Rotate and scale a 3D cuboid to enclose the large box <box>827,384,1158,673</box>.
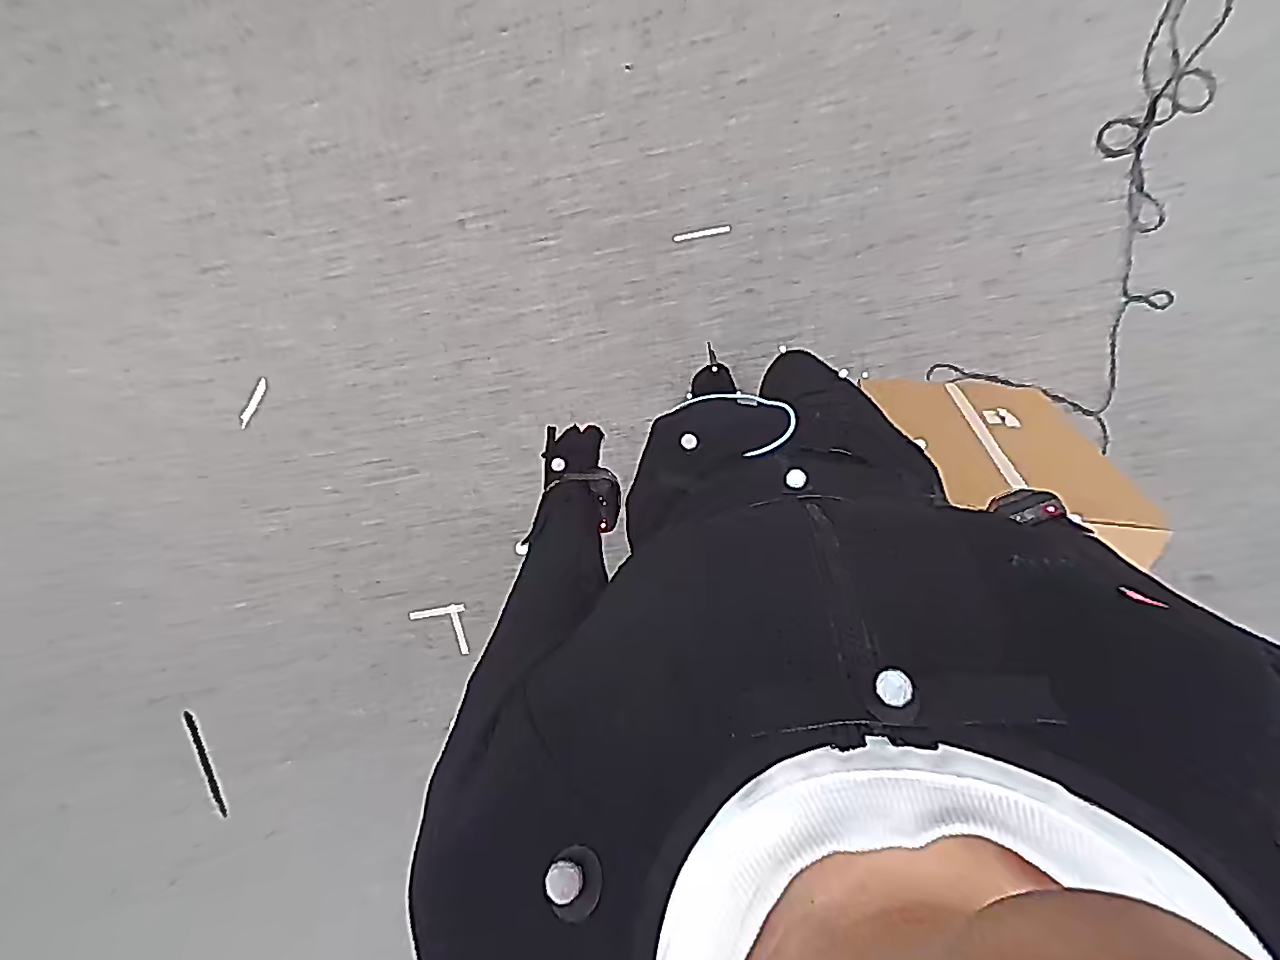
[{"bbox_3d":[0.527,0.062,0.931,0.320,0.408,0.320,6,123,8],"label":"large box"}]
